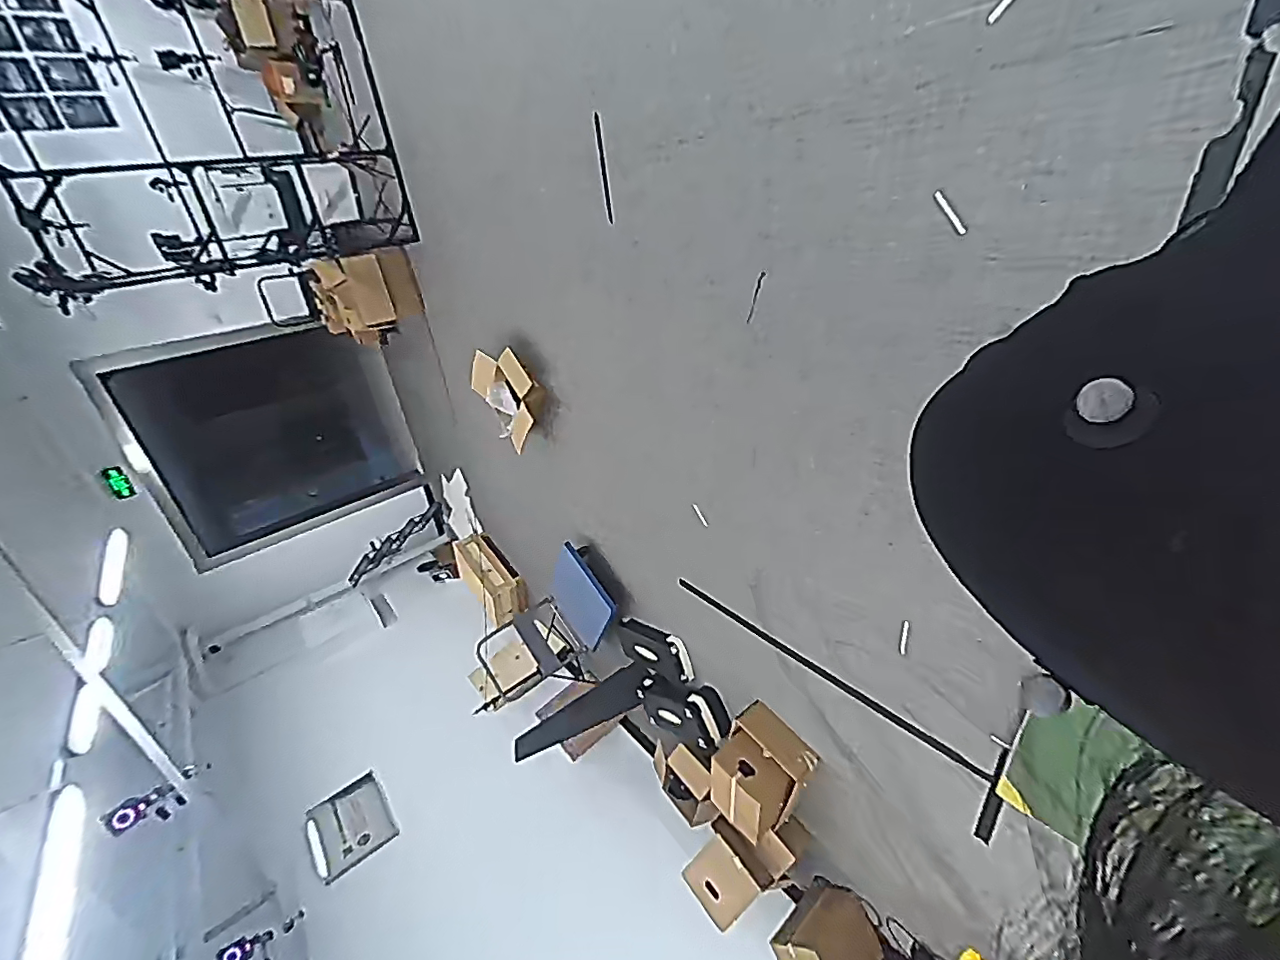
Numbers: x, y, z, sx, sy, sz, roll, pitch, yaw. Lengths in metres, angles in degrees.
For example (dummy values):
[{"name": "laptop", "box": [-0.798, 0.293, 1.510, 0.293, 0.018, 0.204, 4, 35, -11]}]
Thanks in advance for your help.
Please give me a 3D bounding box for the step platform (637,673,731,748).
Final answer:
[{"name": "step platform", "box": [0.248, 1.415, 3.349, 0.684, 0.204, 0.286, -18, 97, 58]}]
